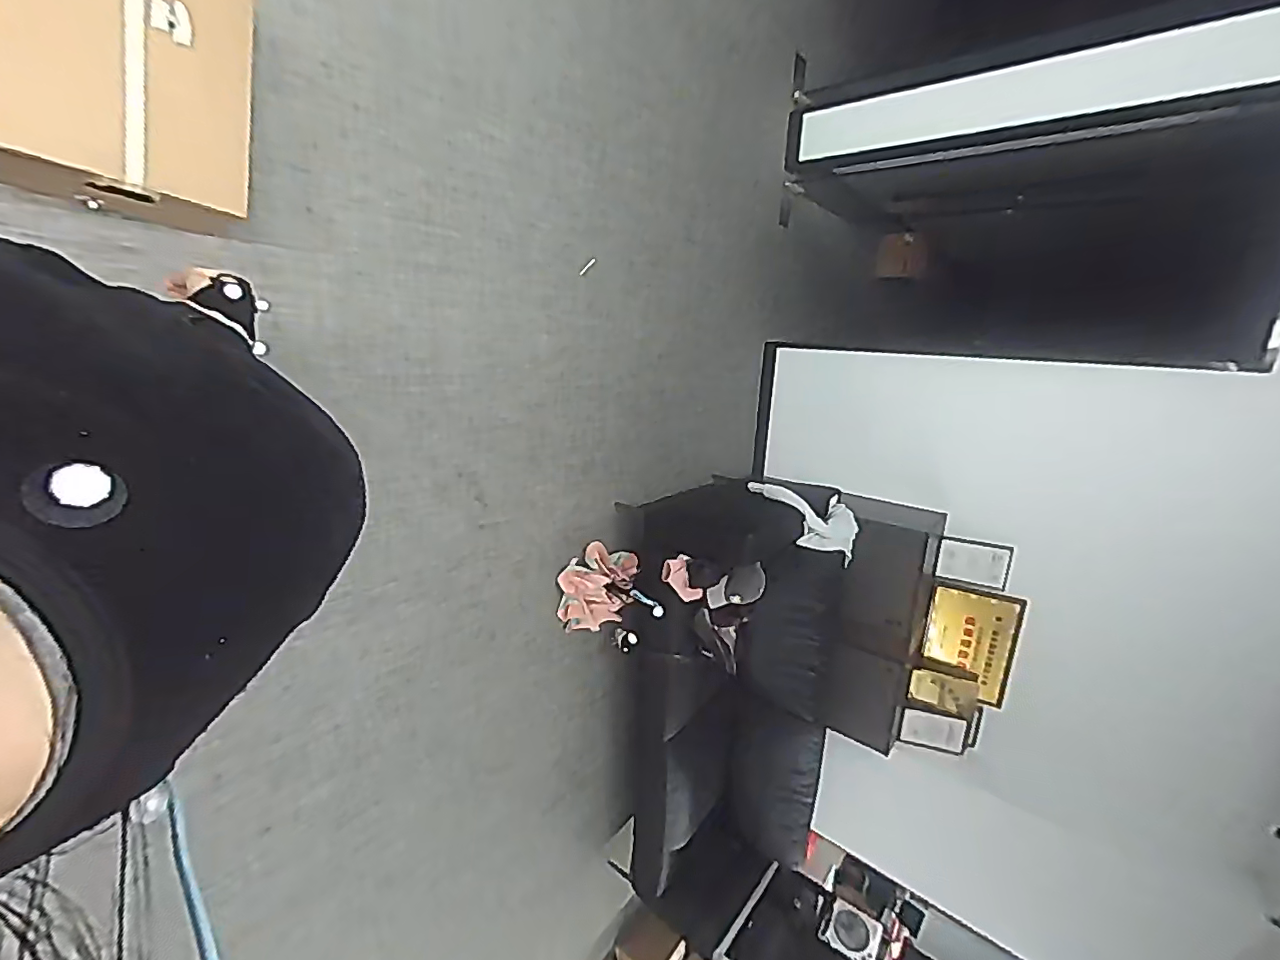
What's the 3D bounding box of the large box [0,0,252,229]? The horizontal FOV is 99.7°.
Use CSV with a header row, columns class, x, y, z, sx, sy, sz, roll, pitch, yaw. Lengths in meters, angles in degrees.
class,x,y,z,sx,sy,sz,roll,pitch,yaw
large box,-0.900,-0.700,0.934,0.320,0.320,0.408,-3,103,-51
